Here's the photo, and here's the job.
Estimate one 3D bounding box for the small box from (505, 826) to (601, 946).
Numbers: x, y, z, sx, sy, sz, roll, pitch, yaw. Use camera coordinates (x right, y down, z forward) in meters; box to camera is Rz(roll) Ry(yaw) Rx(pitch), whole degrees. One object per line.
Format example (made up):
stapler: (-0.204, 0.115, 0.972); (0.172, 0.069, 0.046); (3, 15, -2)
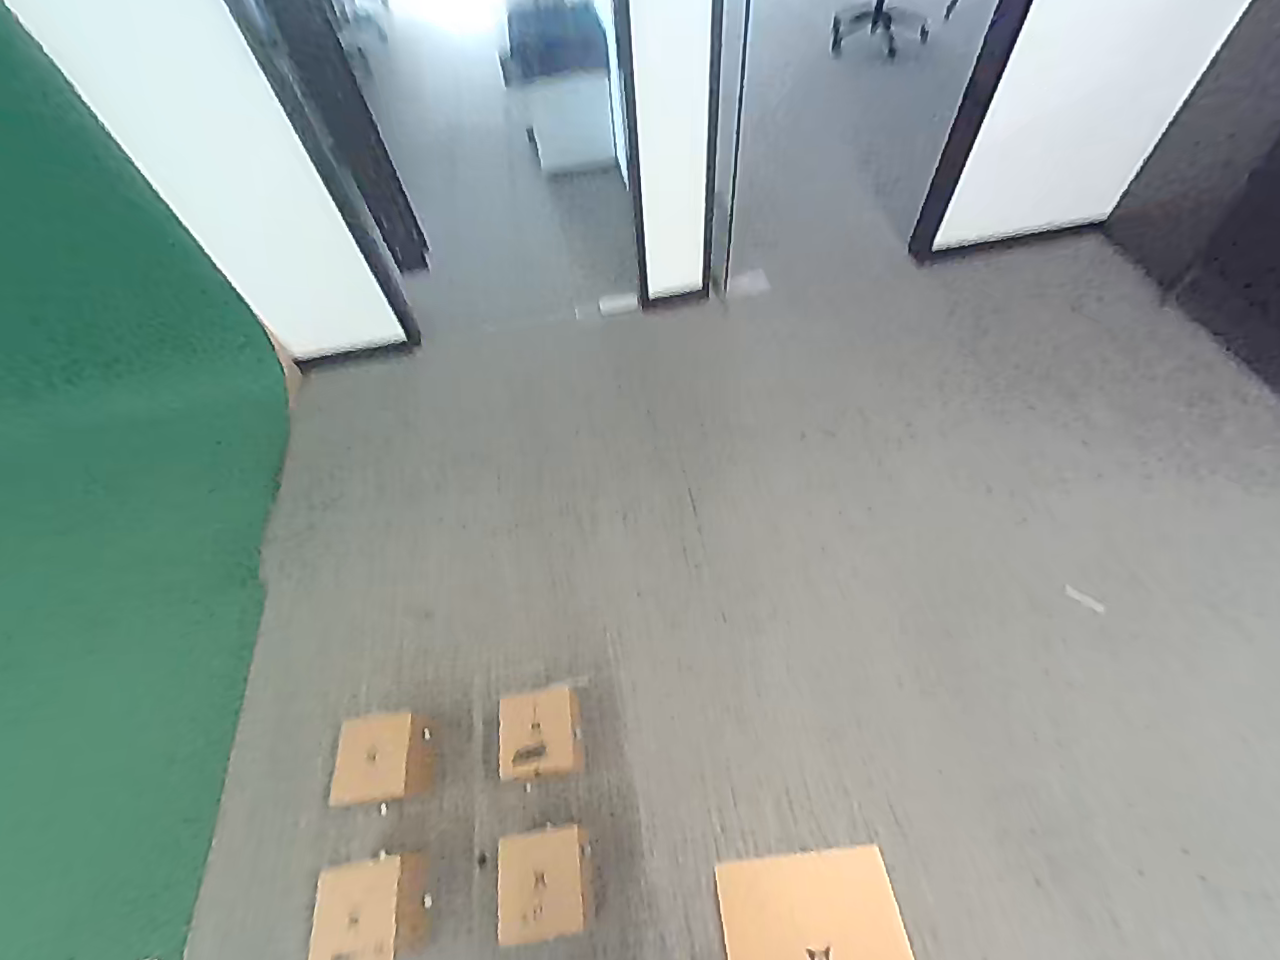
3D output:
small box: (-0.179, 0.848, 1.137); (0.168, 0.176, 0.179); (-9, 55, 0)

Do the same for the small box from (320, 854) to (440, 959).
small box: (-0.532, 0.906, 1.133); (0.168, 0.176, 0.179); (-11, 54, -1)

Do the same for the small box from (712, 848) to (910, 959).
small box: (0.163, 0.485, 0.528); (0.168, 0.176, 0.179); (-8, 47, 2)

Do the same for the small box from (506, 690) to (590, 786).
small box: (-0.216, 0.622, 1.295); (0.168, 0.176, 0.179); (-9, 54, 0)
